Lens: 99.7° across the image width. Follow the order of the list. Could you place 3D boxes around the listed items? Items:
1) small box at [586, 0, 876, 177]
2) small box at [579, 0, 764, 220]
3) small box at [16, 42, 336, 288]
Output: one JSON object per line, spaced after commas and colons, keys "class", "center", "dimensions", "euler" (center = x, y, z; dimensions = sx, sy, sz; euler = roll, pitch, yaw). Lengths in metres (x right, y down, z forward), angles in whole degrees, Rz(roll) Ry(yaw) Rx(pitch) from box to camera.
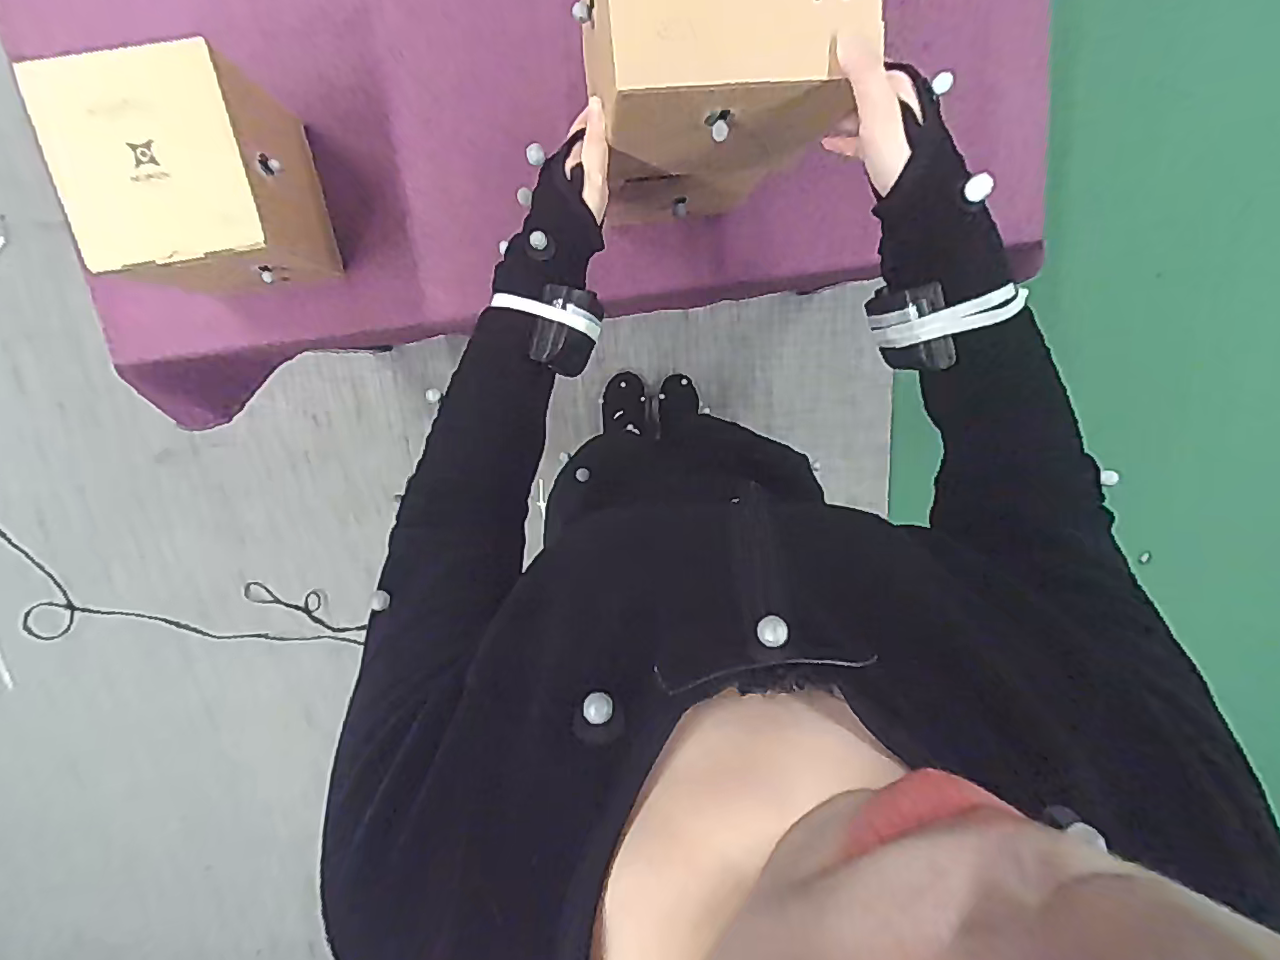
{"class": "small box", "center": [0.051, -0.342, 0.403], "dimensions": [0.179, 0.176, 0.168], "euler": [-6, 103, -6]}
{"class": "small box", "center": [0.029, -0.394, 0.586], "dimensions": [0.168, 0.176, 0.179], "euler": [-8, 104, -3]}
{"class": "small box", "center": [-0.452, -0.306, 0.566], "dimensions": [0.168, 0.176, 0.179], "euler": [-10, 102, -4]}
